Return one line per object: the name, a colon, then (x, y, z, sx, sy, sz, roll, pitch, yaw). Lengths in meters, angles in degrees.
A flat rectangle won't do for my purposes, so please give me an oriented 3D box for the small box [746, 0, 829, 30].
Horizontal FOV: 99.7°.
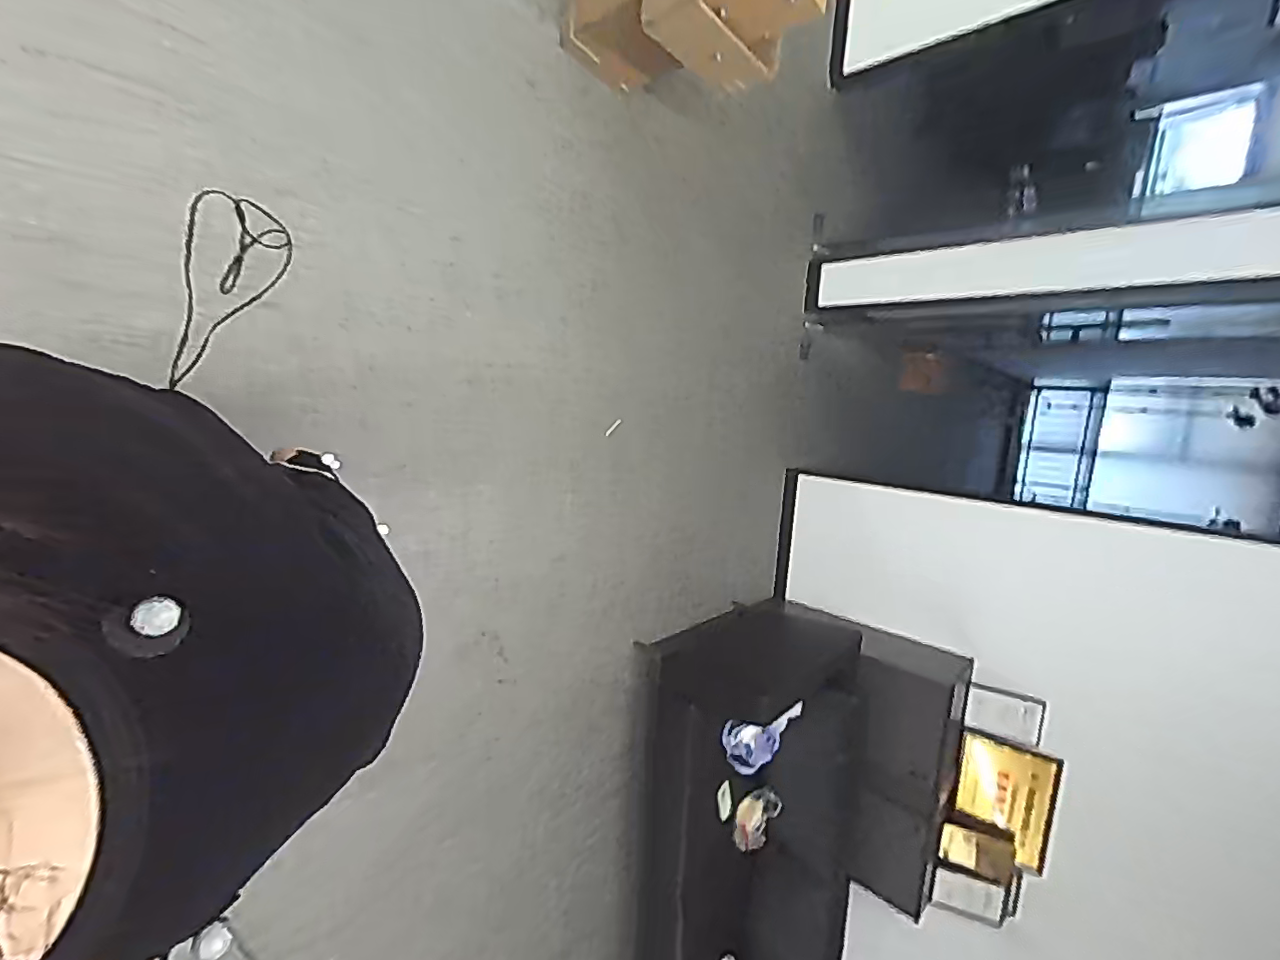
small box: (0.361, -1.263, 1.323, 0.179, 0.176, 0.168, 5, 96, -48)
